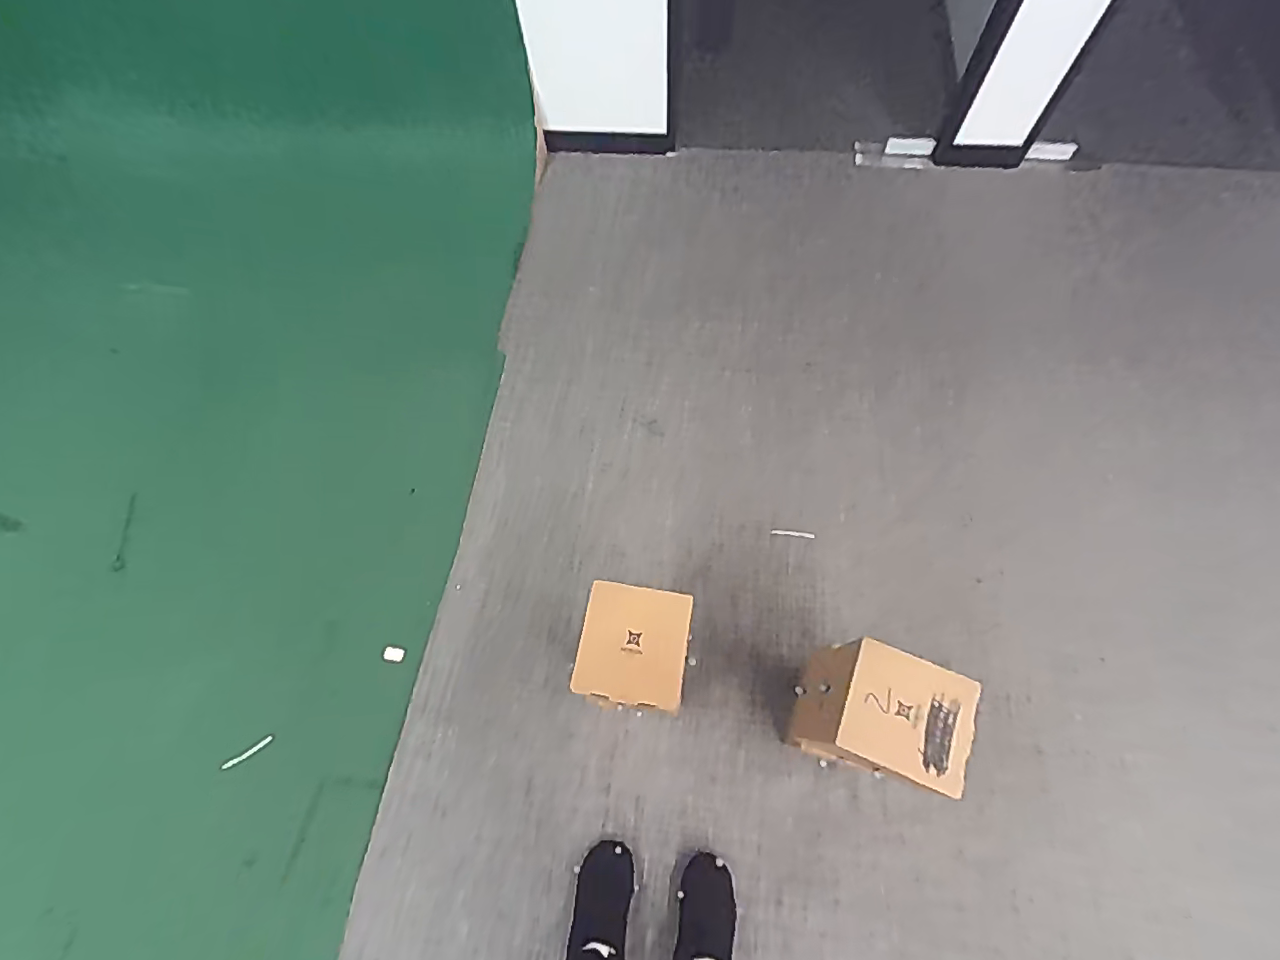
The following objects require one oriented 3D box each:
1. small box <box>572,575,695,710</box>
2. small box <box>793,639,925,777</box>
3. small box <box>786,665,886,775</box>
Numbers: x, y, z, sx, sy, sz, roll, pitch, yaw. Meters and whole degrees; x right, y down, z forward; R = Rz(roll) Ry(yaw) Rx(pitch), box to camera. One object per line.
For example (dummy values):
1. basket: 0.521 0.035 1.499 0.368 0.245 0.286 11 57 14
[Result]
1. small box: -0.005 0.275 0.903 0.168 0.176 0.179 8 66 7
2. small box: 0.394 0.417 0.999 0.168 0.176 0.179 19 69 11
3. small box: 0.418 0.496 1.141 0.168 0.176 0.179 15 68 9
